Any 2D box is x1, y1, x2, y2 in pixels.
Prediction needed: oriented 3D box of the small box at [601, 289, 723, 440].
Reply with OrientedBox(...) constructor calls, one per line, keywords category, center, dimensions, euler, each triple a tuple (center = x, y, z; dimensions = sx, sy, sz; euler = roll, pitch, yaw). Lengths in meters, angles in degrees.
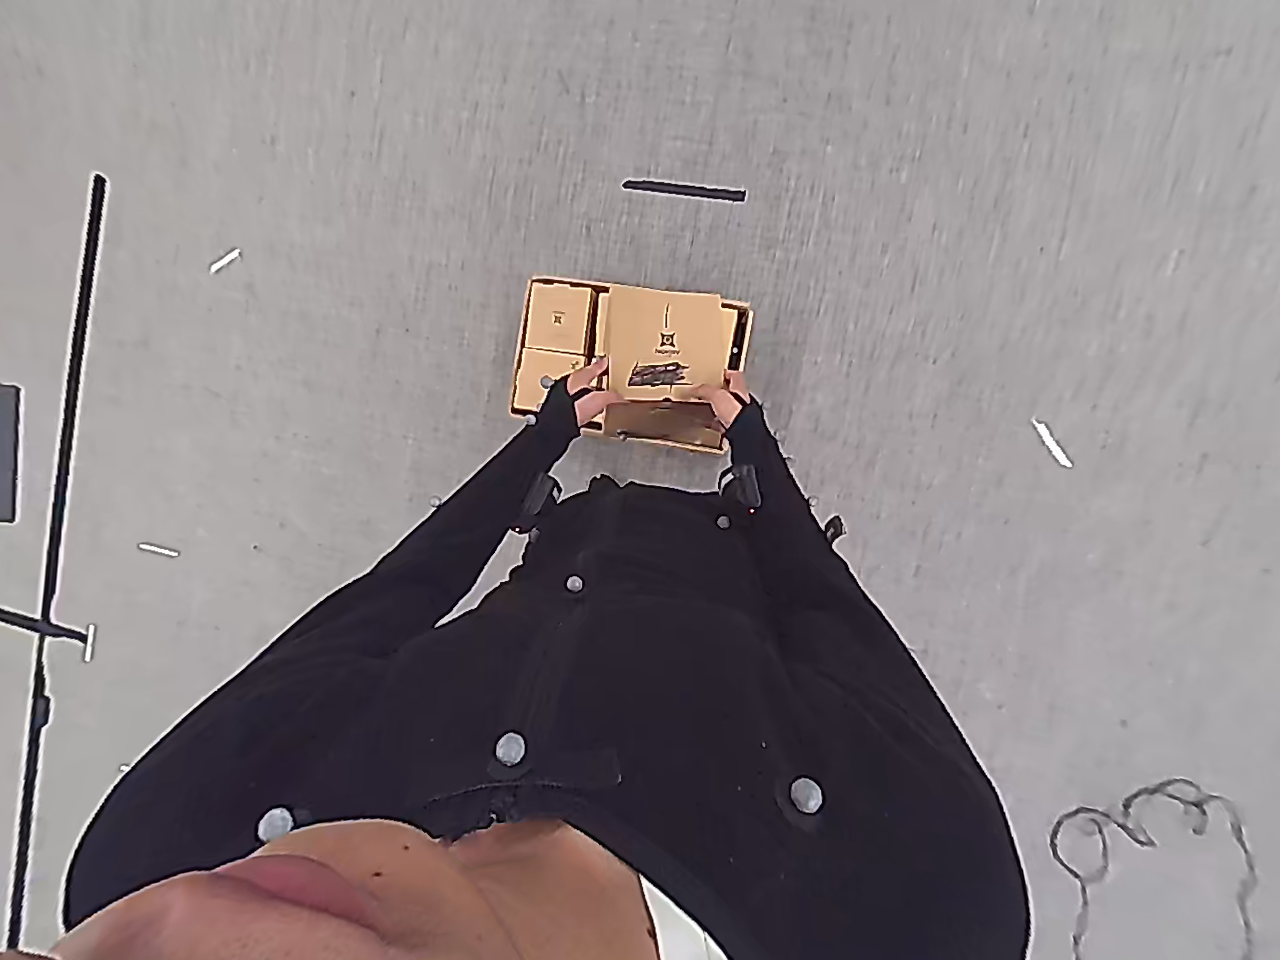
OrientedBox(category="small box", center=(0.027, -0.167, 0.833), dimensions=(0.168, 0.176, 0.179), euler=(1, 76, -6))
